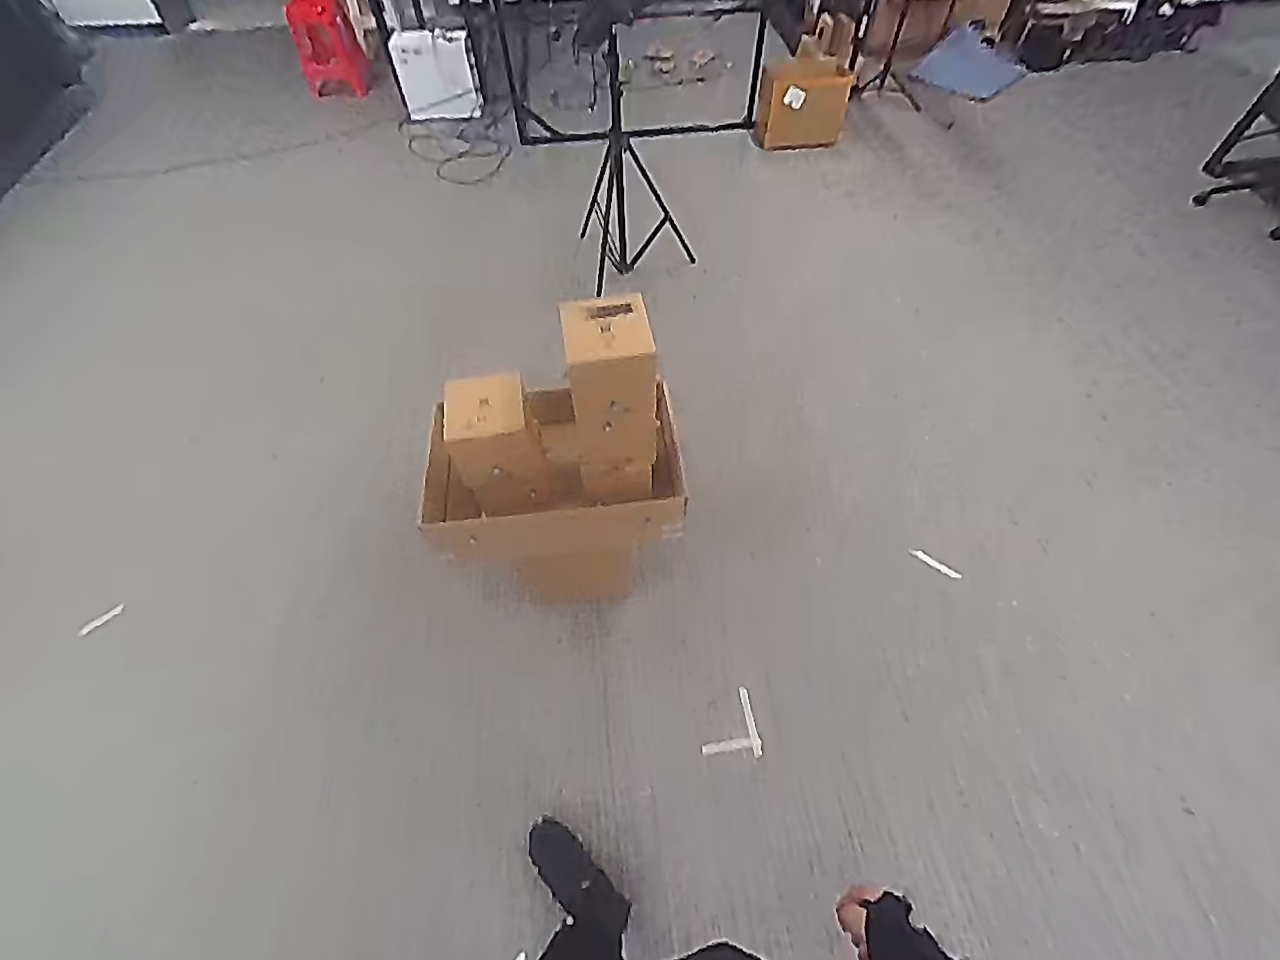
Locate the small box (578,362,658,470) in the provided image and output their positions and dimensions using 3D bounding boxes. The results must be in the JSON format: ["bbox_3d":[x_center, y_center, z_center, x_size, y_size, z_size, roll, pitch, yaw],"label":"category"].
[{"bbox_3d":[-0.049,-0.142,1.219,0.168,0.176,0.179,-4,54,-1],"label":"small box"}]

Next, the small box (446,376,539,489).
[{"bbox_3d":[-0.324,-0.104,1.203,0.168,0.176,0.179,-9,56,-6],"label":"small box"}]
